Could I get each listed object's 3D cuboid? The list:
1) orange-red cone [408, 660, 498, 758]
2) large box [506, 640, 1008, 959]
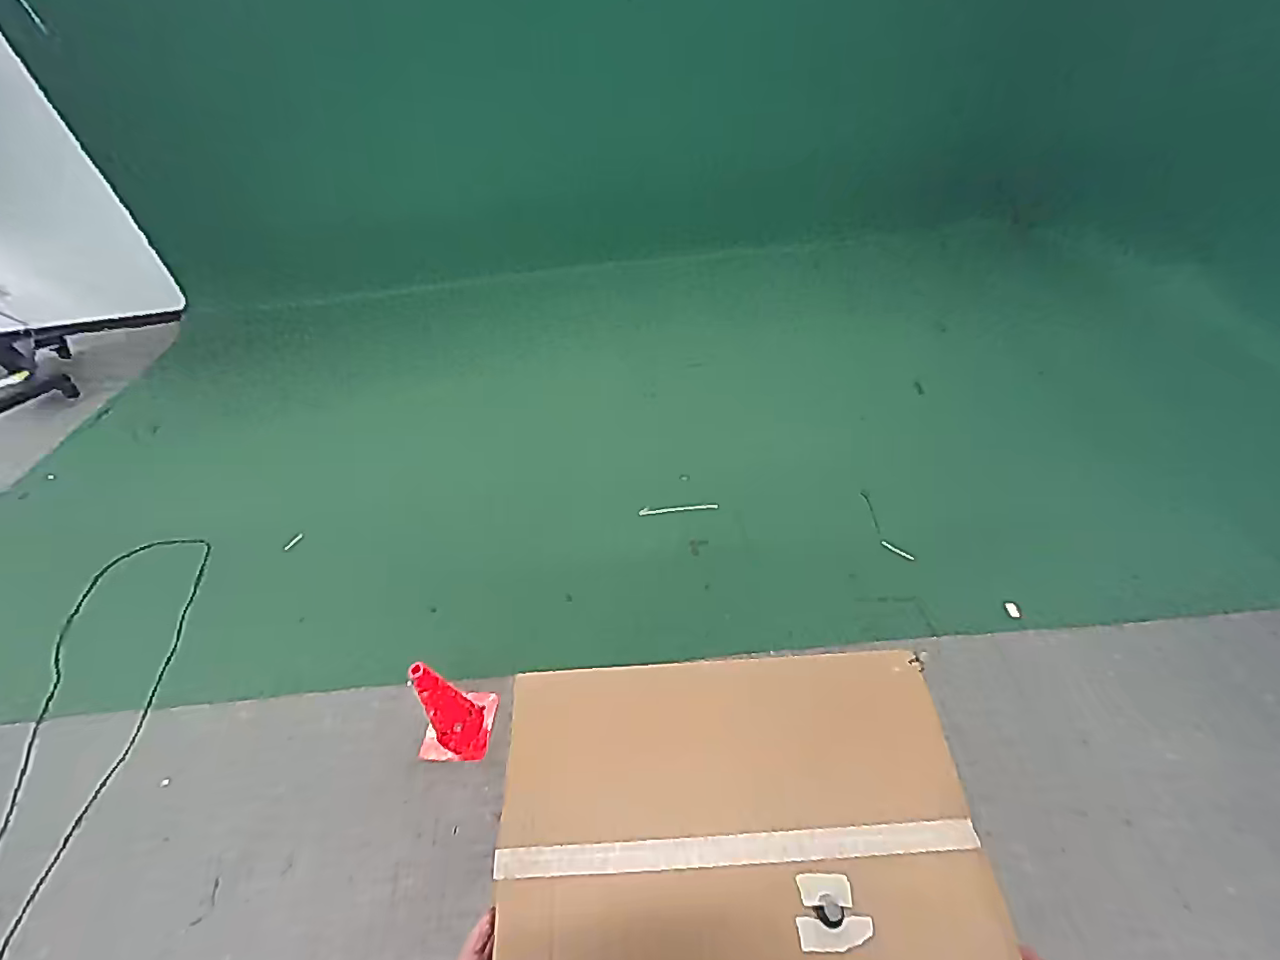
[{"bbox_3d":[-0.566,0.611,1.520,0.199,0.360,0.198,-2,43,9],"label":"orange-red cone"},{"bbox_3d":[0.088,0.391,0.599,0.408,0.320,0.320,-4,56,0],"label":"large box"}]
